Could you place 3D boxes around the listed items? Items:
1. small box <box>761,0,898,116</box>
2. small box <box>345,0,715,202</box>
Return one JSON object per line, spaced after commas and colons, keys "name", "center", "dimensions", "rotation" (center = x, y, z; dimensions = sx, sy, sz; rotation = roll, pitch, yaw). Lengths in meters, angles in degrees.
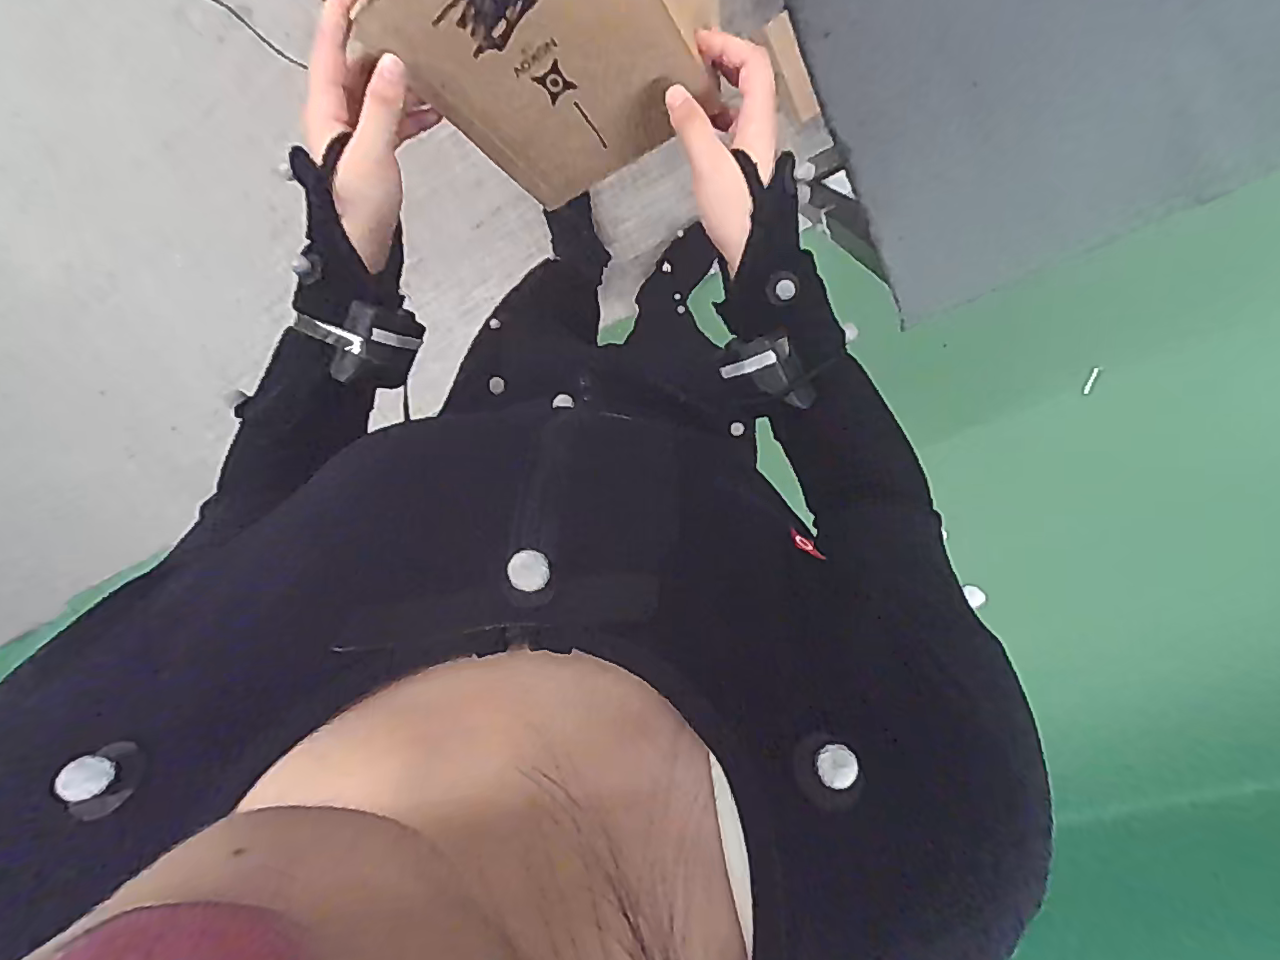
{"name": "small box", "center": [0.331, -0.795, 0.977], "dimensions": [0.179, 0.176, 0.168], "rotation": [-27, 120, 20]}
{"name": "small box", "center": [-0.062, -0.347, 0.372], "dimensions": [0.168, 0.176, 0.179], "rotation": [-12, 158, 33]}
